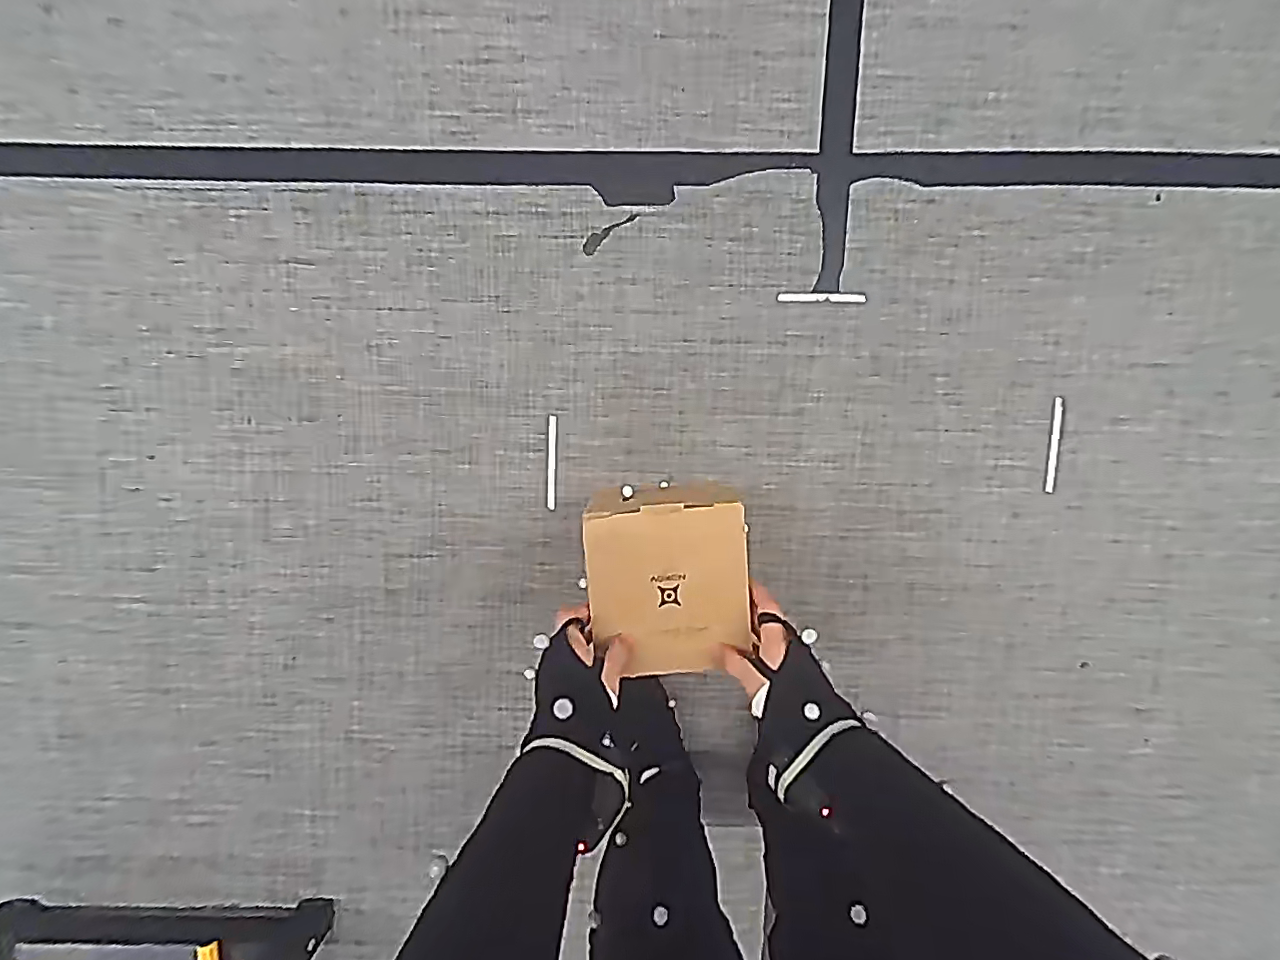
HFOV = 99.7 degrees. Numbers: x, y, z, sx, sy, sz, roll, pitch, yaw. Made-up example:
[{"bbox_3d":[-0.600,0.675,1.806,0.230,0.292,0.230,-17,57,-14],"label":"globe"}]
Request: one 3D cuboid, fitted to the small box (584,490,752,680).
[{"bbox_3d":[0.029,0.107,0.632,0.168,0.176,0.179,-5,97,1],"label":"small box"}]
